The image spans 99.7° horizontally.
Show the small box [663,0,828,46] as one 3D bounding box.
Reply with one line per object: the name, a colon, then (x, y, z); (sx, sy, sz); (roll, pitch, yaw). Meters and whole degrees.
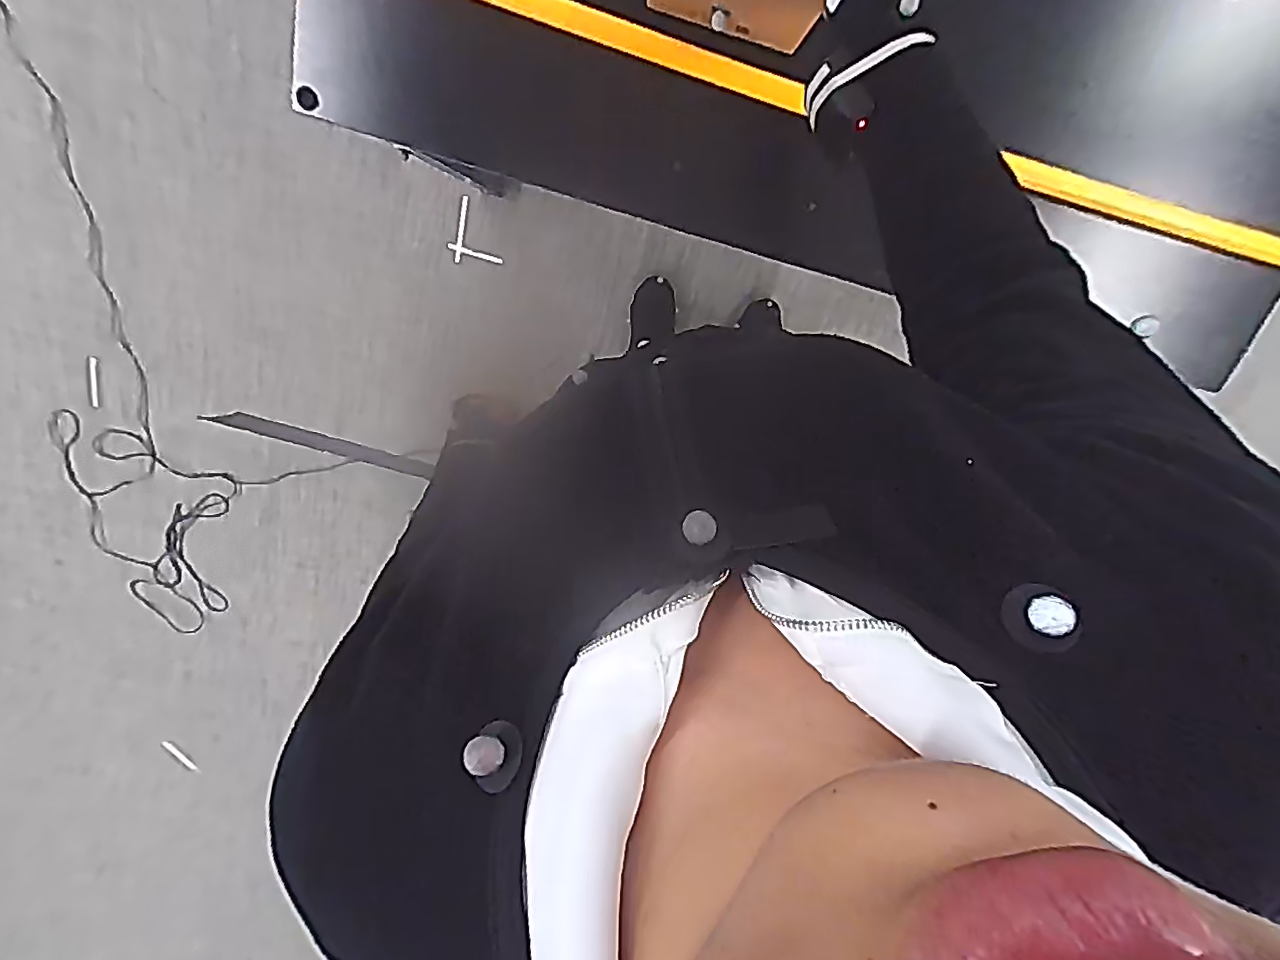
small box: (0.113, -0.538, 0.477); (0.168, 0.176, 0.179); (14, 111, -6)
